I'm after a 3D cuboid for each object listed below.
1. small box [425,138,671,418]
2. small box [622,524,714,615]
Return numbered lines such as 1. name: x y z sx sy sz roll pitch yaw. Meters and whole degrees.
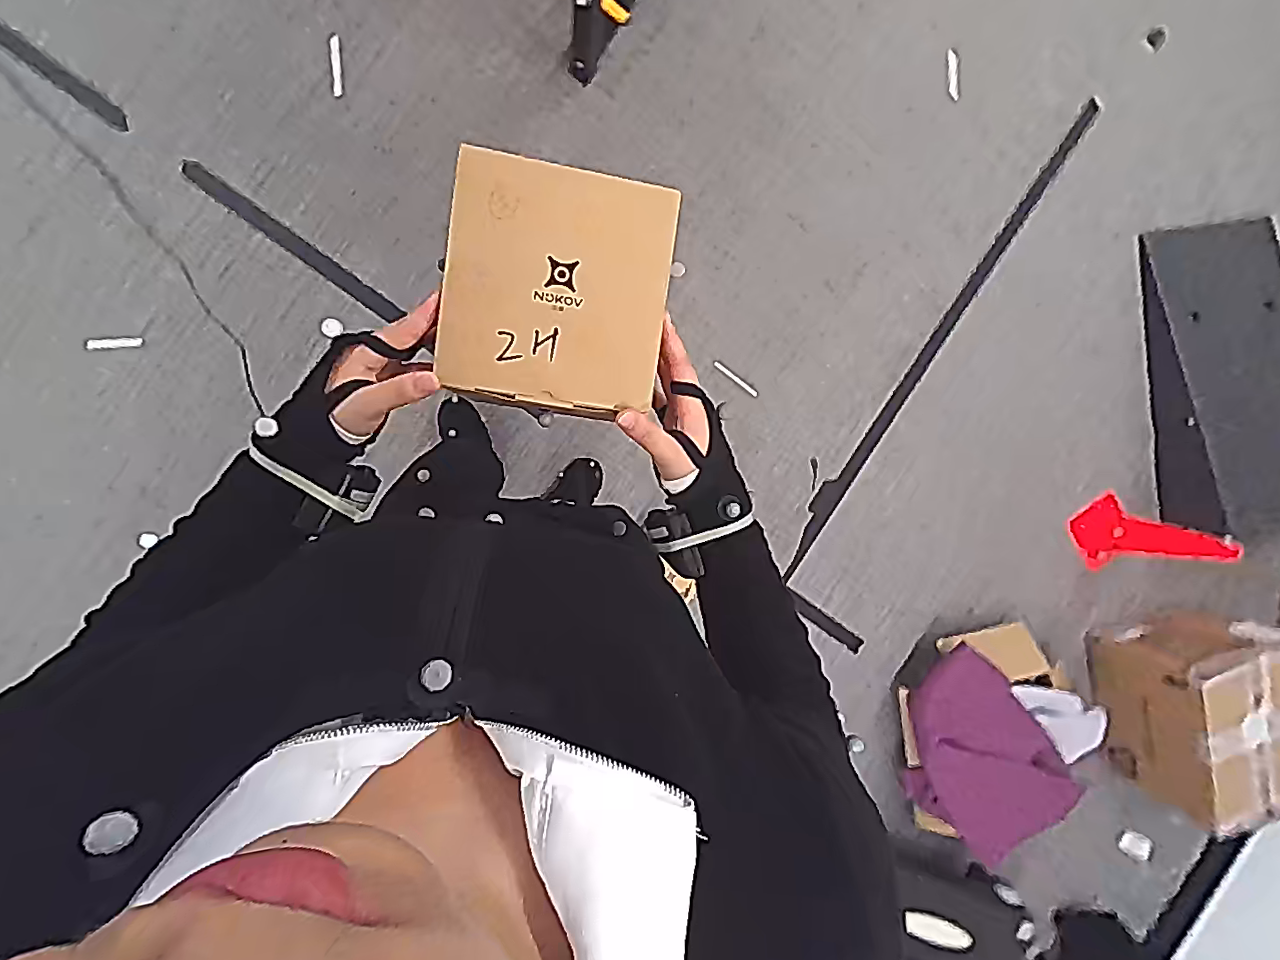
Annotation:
1. small box: -0.078 -0.156 0.482 0.168 0.176 0.179 7 93 -8
2. small box: 0.066 0.232 1.463 0.179 0.176 0.168 35 89 -8
